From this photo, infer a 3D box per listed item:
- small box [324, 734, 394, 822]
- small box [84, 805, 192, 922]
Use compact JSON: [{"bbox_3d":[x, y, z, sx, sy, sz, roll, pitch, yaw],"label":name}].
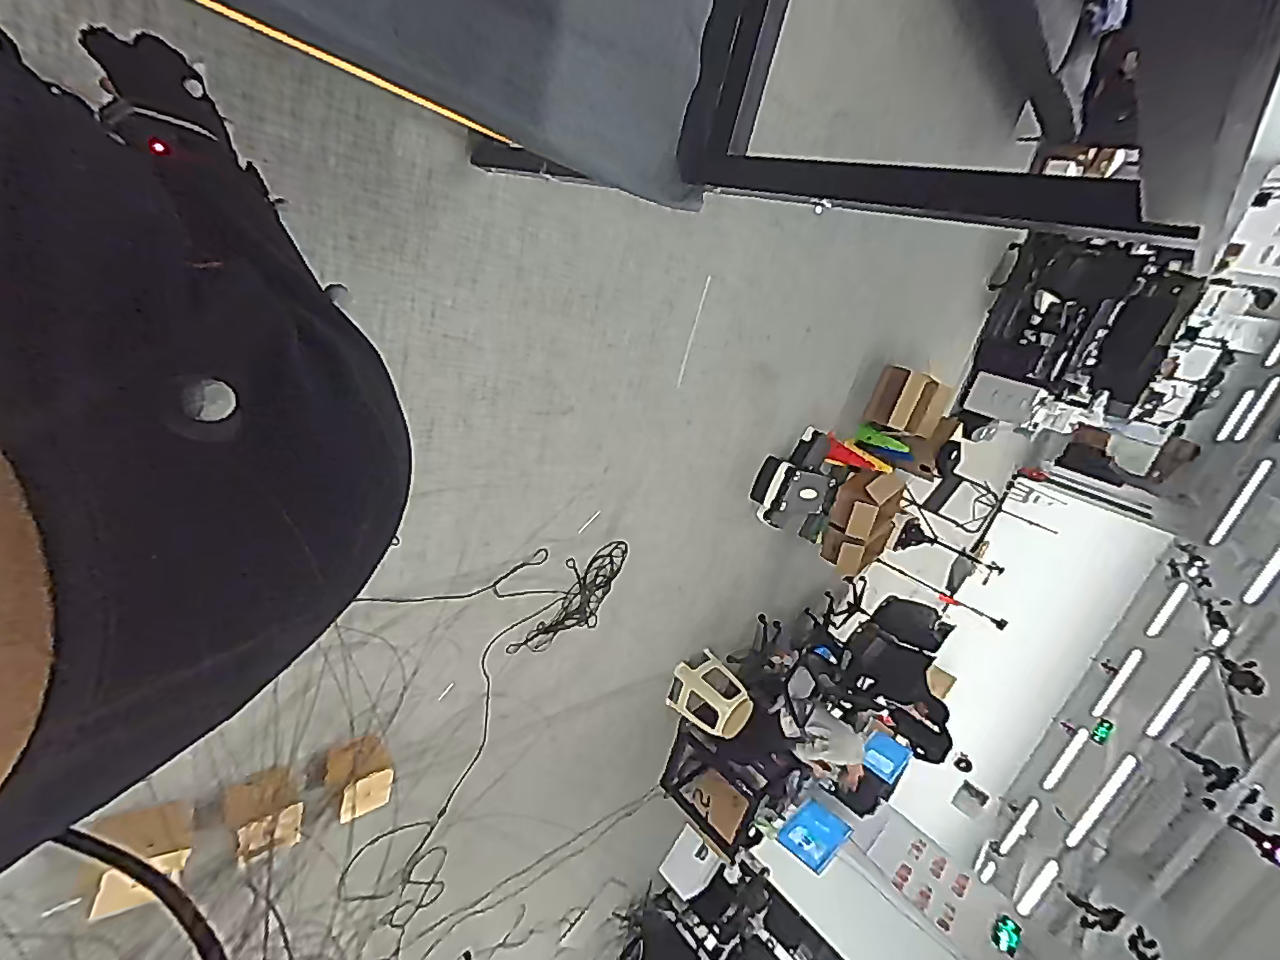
[{"bbox_3d":[-0.991,1.040,1.898,0.168,0.176,0.179,-4,116,-48],"label":"small box"},{"bbox_3d":[-1.360,1.022,1.463,0.179,0.176,0.168,17,100,-51],"label":"small box"}]
